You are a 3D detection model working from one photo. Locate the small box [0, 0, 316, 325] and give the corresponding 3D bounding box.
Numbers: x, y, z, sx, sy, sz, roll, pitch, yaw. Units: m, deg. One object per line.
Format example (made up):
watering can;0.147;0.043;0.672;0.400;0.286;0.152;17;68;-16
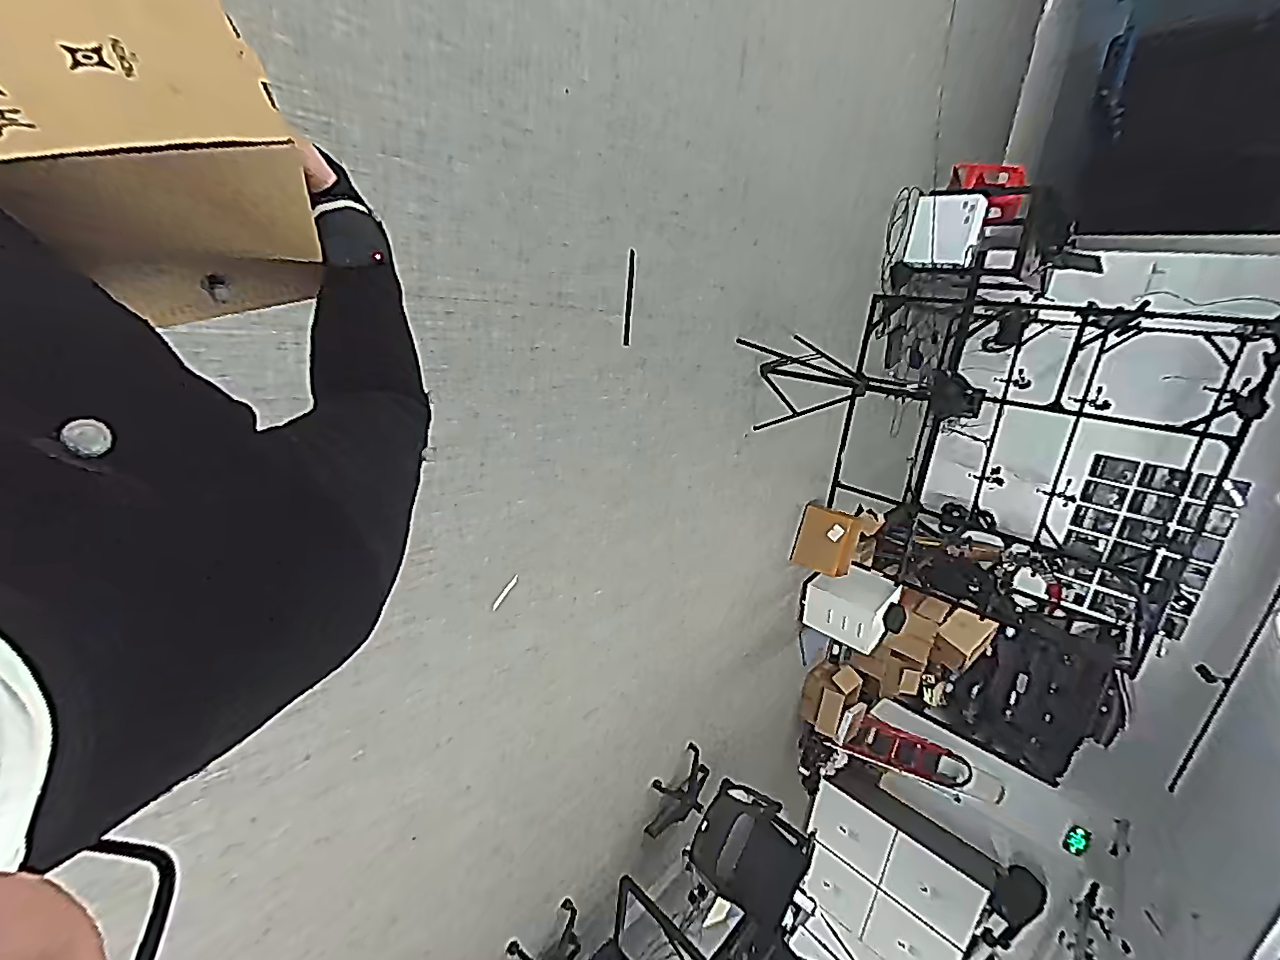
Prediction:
small box;-0.394;-0.257;0.449;0.179;0.168;0.176;-25;168;-29
